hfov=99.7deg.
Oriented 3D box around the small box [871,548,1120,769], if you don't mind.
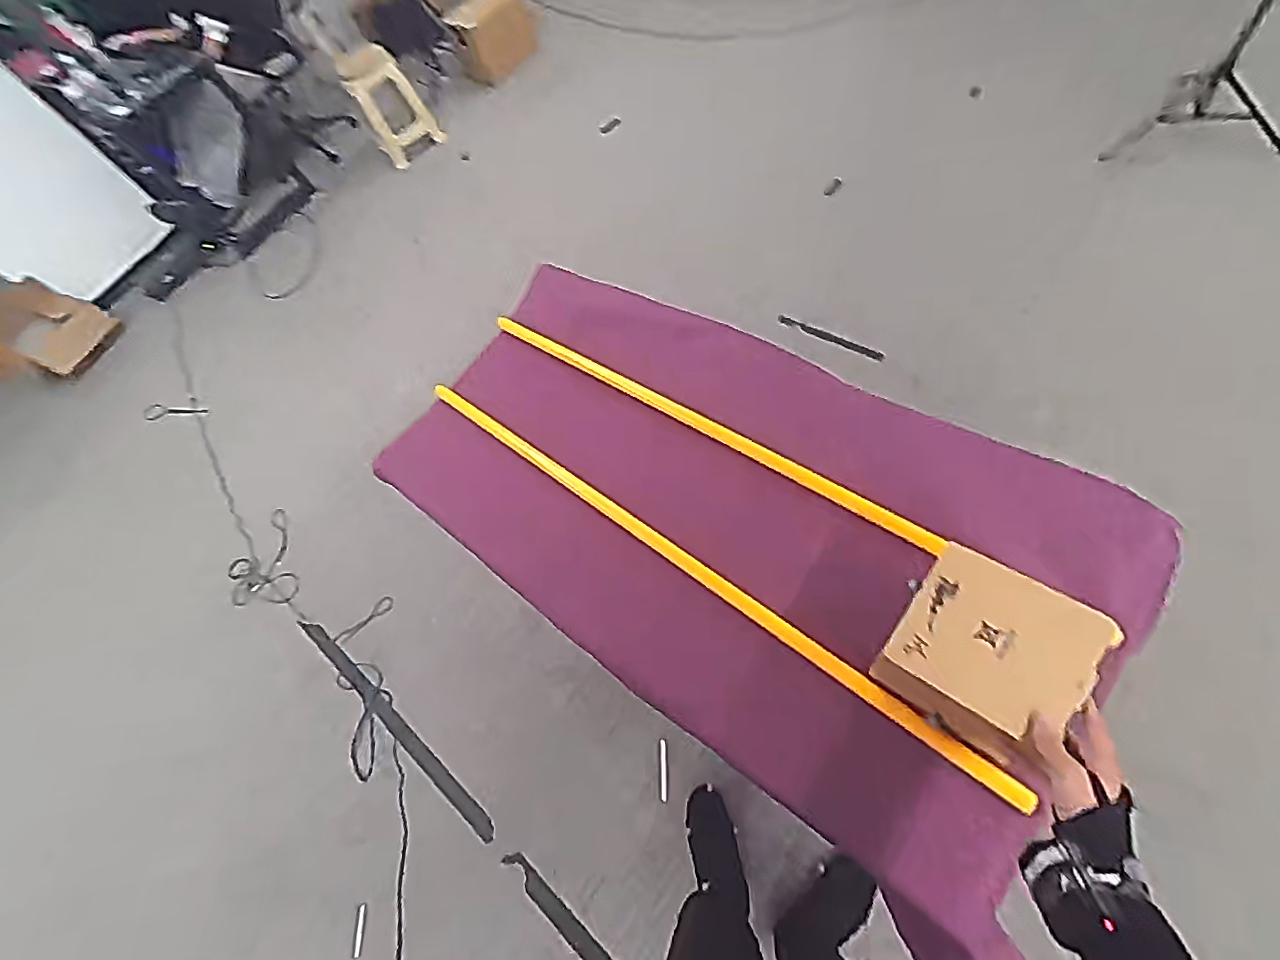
[{"bbox_3d":[0.405,0.215,0.650,0.179,0.176,0.168,32,75,28],"label":"small box"}]
